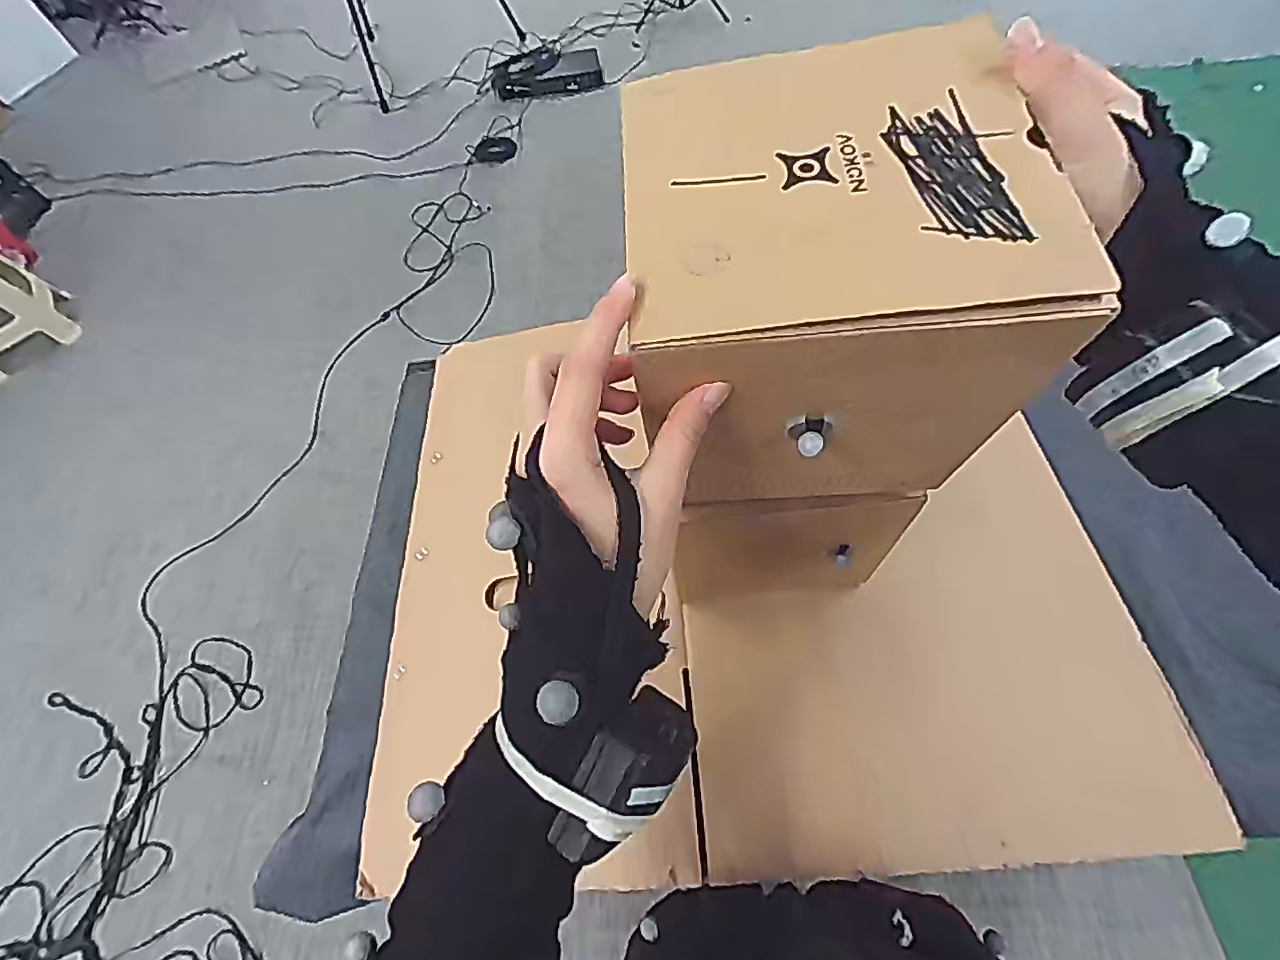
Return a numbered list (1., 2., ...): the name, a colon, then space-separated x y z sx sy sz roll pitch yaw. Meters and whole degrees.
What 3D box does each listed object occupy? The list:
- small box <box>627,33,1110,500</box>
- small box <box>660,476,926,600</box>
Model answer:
1. small box: 0.089 -0.096 0.302 0.179 0.176 0.168 -4 66 6
2. small box: 0.105 -0.007 0.464 0.179 0.176 0.168 -7 59 3
